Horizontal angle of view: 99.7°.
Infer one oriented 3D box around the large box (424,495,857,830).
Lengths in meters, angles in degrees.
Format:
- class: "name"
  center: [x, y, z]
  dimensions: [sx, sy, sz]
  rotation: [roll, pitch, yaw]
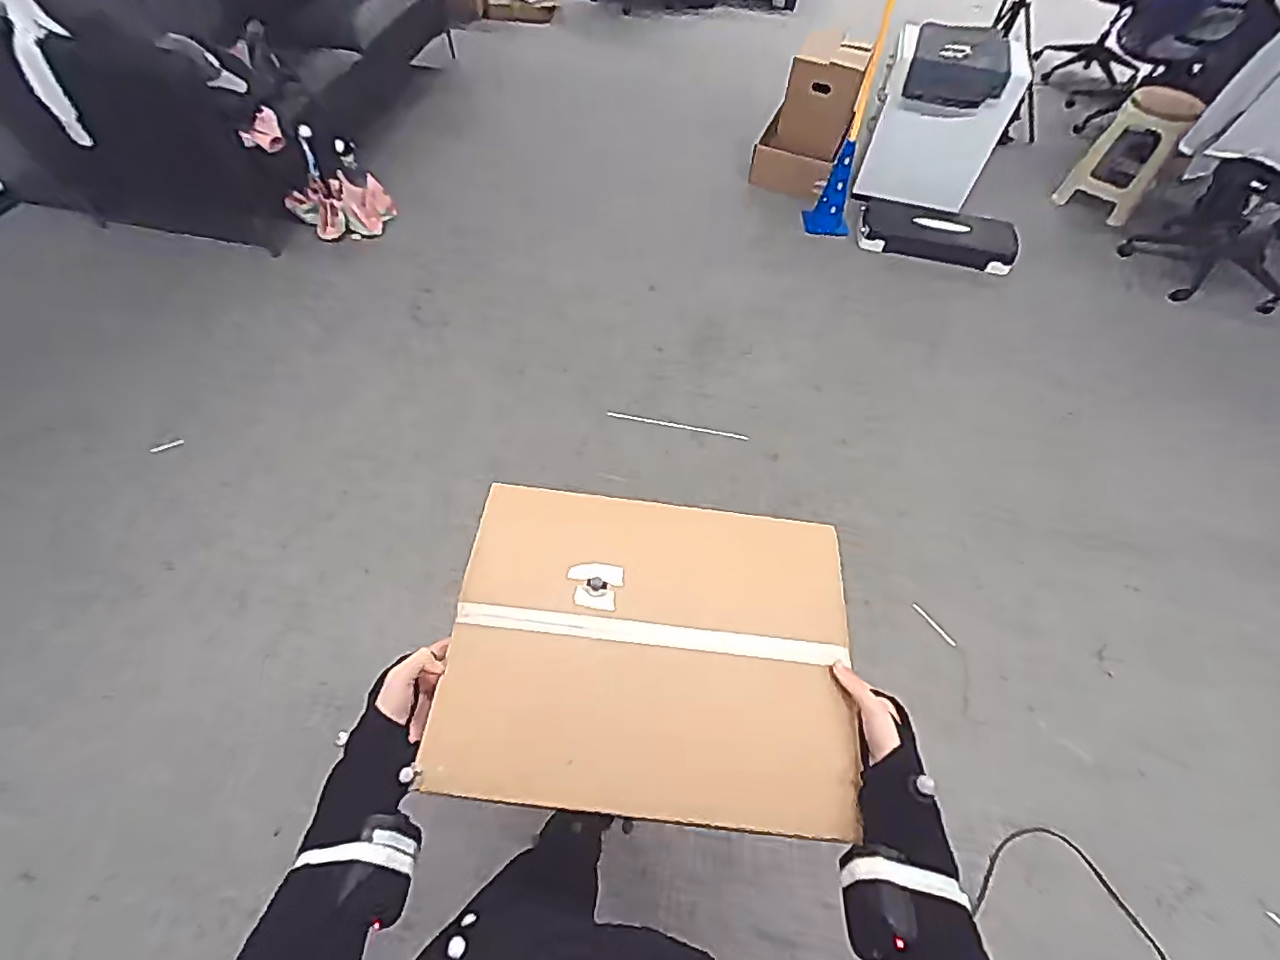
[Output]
- class: "large box"
  center: [0.006, 0.244, 0.693]
  dimensions: [0.408, 0.320, 0.320]
  rotation: [7, 57, 0]
